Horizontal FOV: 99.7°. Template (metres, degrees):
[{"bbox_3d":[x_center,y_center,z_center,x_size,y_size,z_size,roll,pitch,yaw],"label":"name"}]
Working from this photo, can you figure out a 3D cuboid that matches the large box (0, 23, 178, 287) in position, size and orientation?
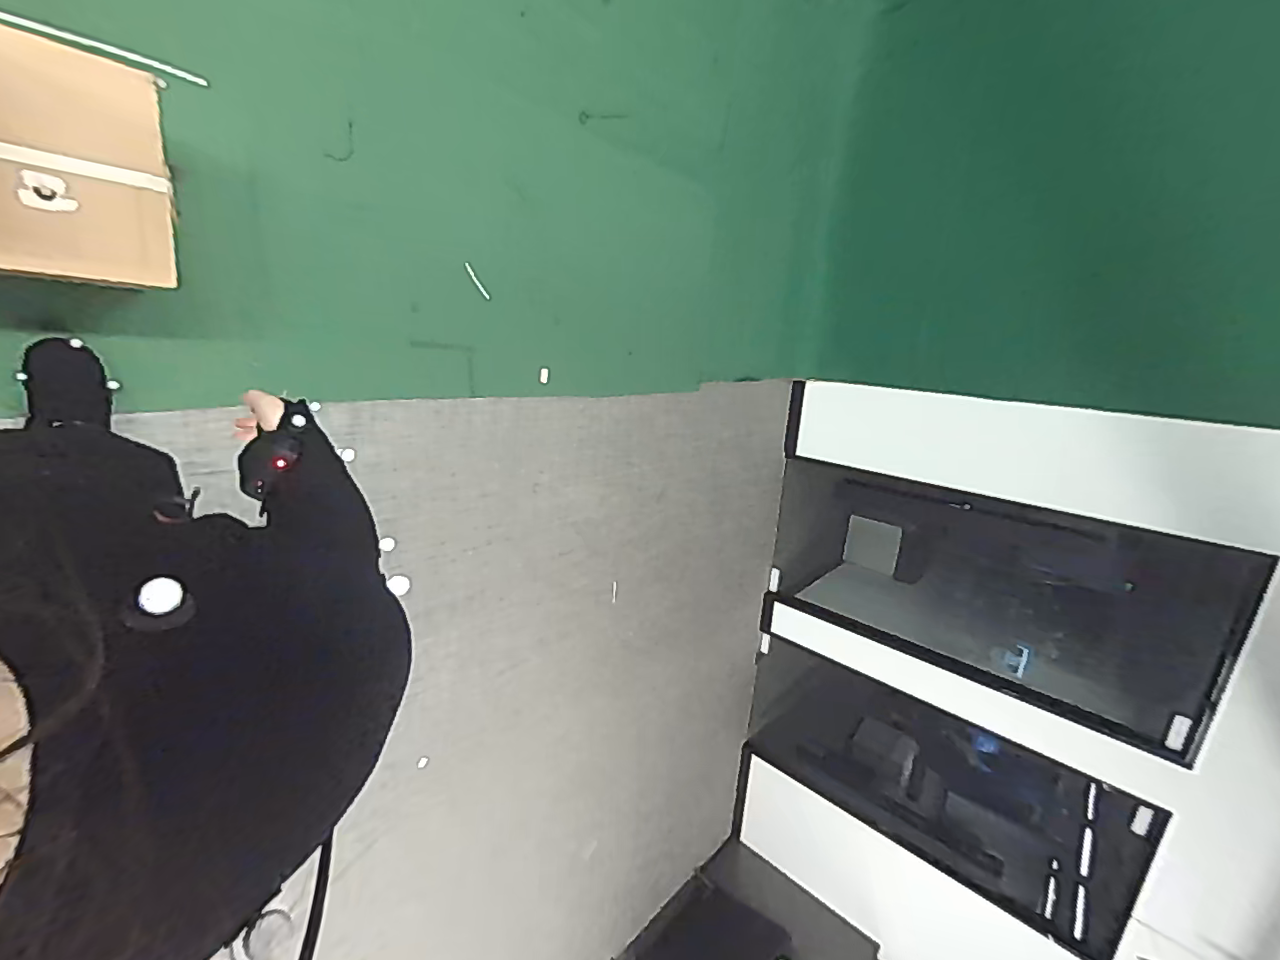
[{"bbox_3d":[-0.990,-0.473,0.798,0.408,0.320,0.320,-10,111,-48],"label":"large box"}]
